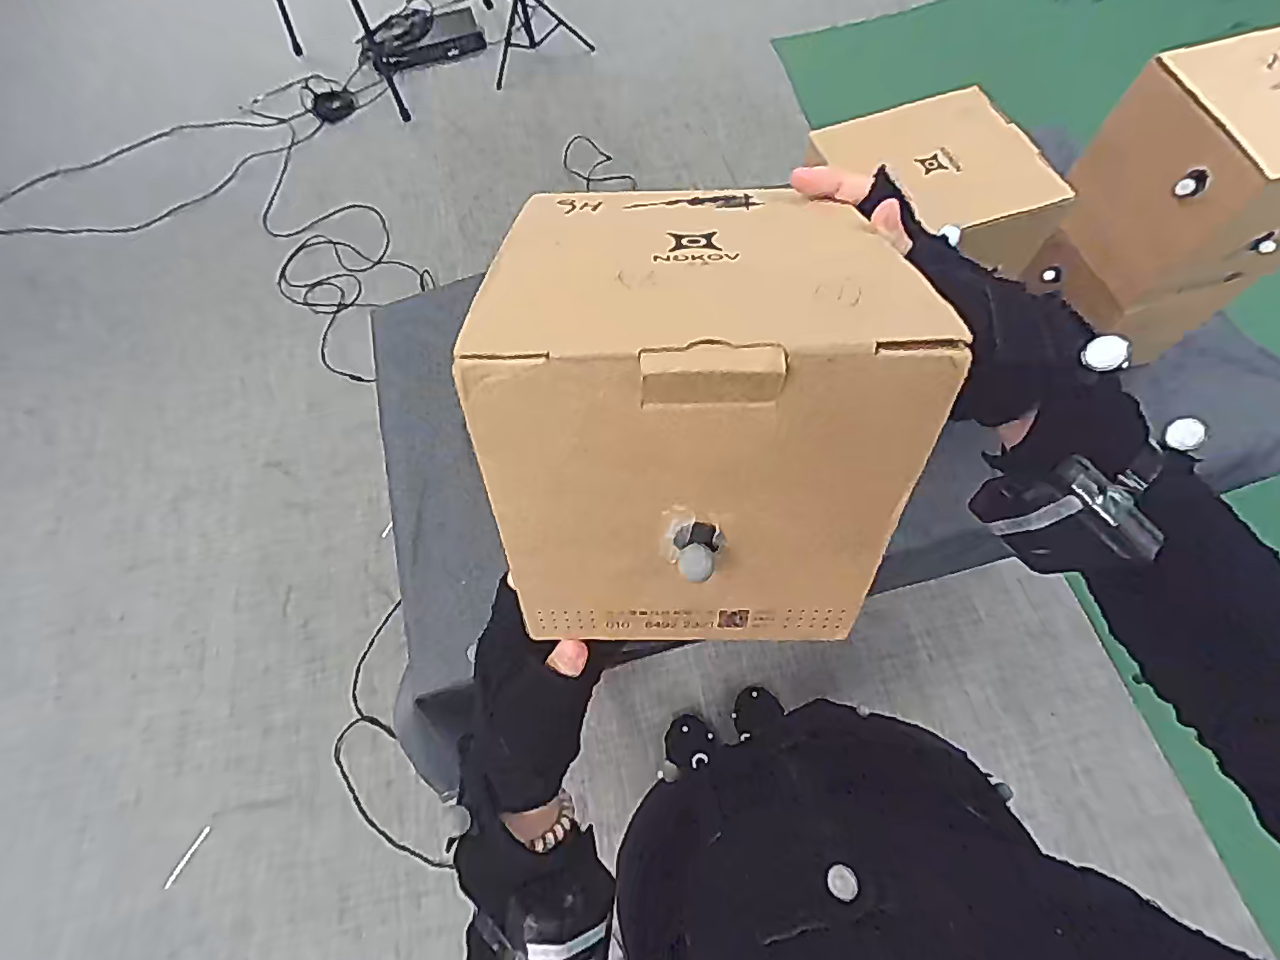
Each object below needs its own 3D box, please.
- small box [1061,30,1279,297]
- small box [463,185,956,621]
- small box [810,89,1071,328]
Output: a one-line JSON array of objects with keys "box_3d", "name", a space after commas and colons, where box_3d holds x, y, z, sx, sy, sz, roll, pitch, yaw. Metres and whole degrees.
[{"box_3d": [0.591, -0.312, 0.559, 0.168, 0.176, 0.179, -12, 67, 0], "name": "small box"}, {"box_3d": [0.026, -0.040, 0.289, 0.168, 0.176, 0.179, 0, 43, 1], "name": "small box"}, {"box_3d": [0.275, -0.255, 0.566, 0.179, 0.176, 0.168, -17, 66, -1], "name": "small box"}]
